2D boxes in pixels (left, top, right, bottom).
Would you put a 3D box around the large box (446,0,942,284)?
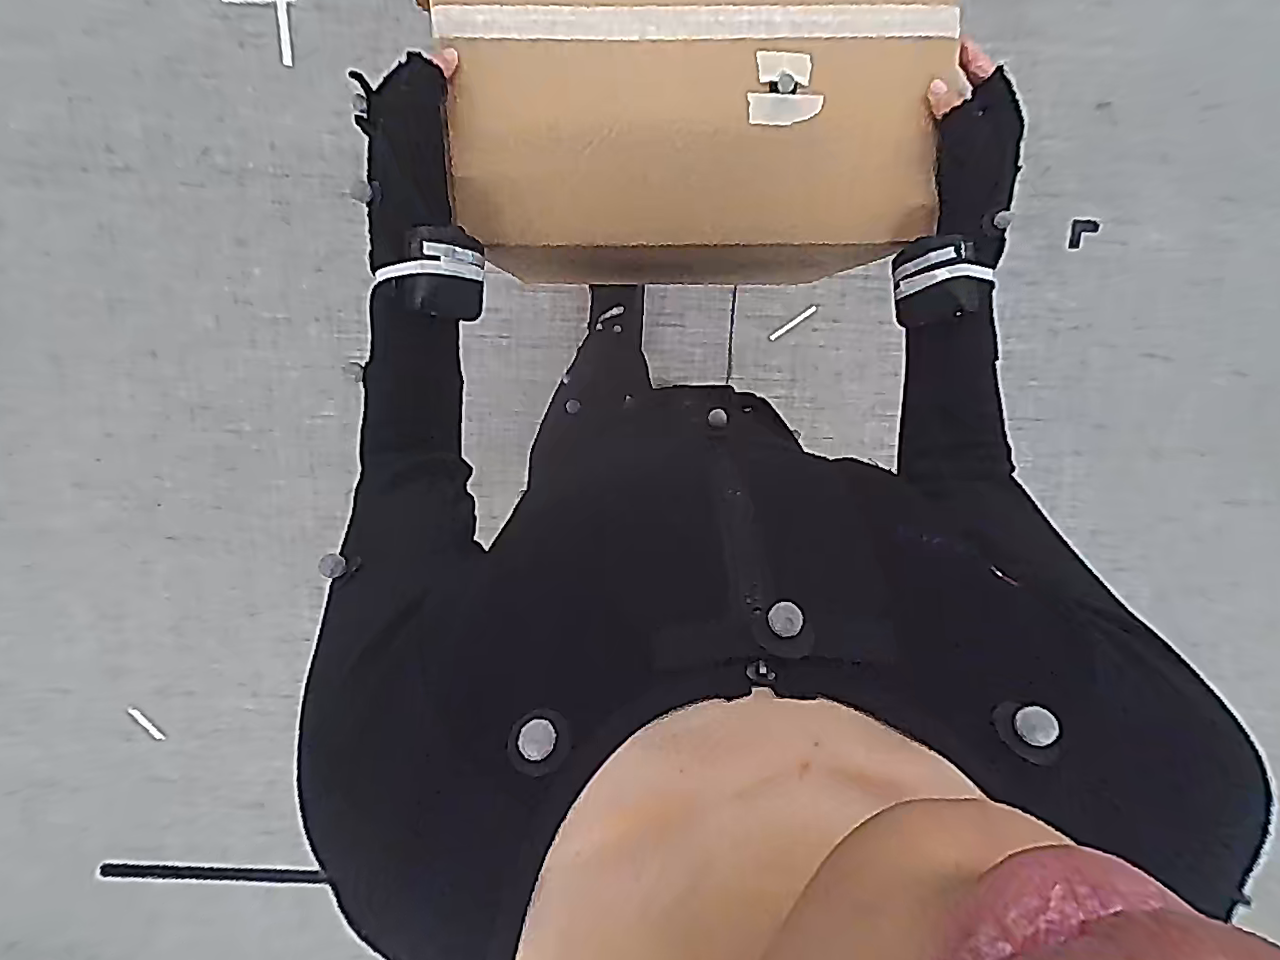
[{"bbox_3d":[0.038,-0.394,0.579,0.408,0.320,0.320,-1,105,-2],"label":"large box"}]
